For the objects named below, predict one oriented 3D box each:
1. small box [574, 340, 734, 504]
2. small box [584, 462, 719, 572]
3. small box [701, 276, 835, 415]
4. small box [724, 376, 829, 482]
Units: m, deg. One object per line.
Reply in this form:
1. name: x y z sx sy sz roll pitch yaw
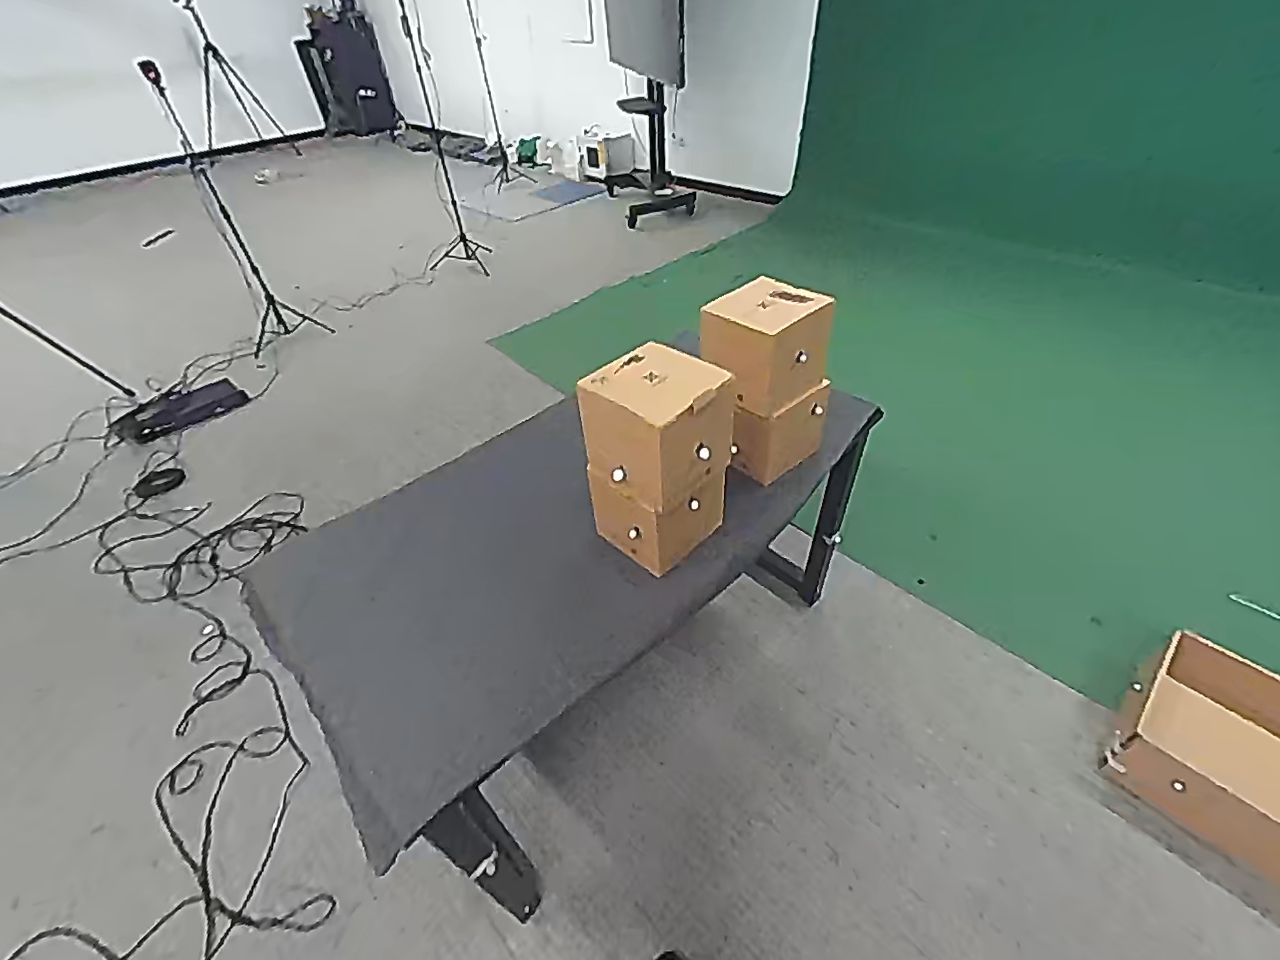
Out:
1. small box: 0.024 -0.086 0.839 0.179 0.176 0.168 33 54 33
2. small box: 0.027 0.029 0.957 0.168 0.176 0.179 32 52 33
3. small box: 0.227 -0.249 0.998 0.179 0.176 0.168 -33 49 -26
4. small box: 0.255 -0.128 1.107 0.179 0.176 0.168 -32 48 -26
